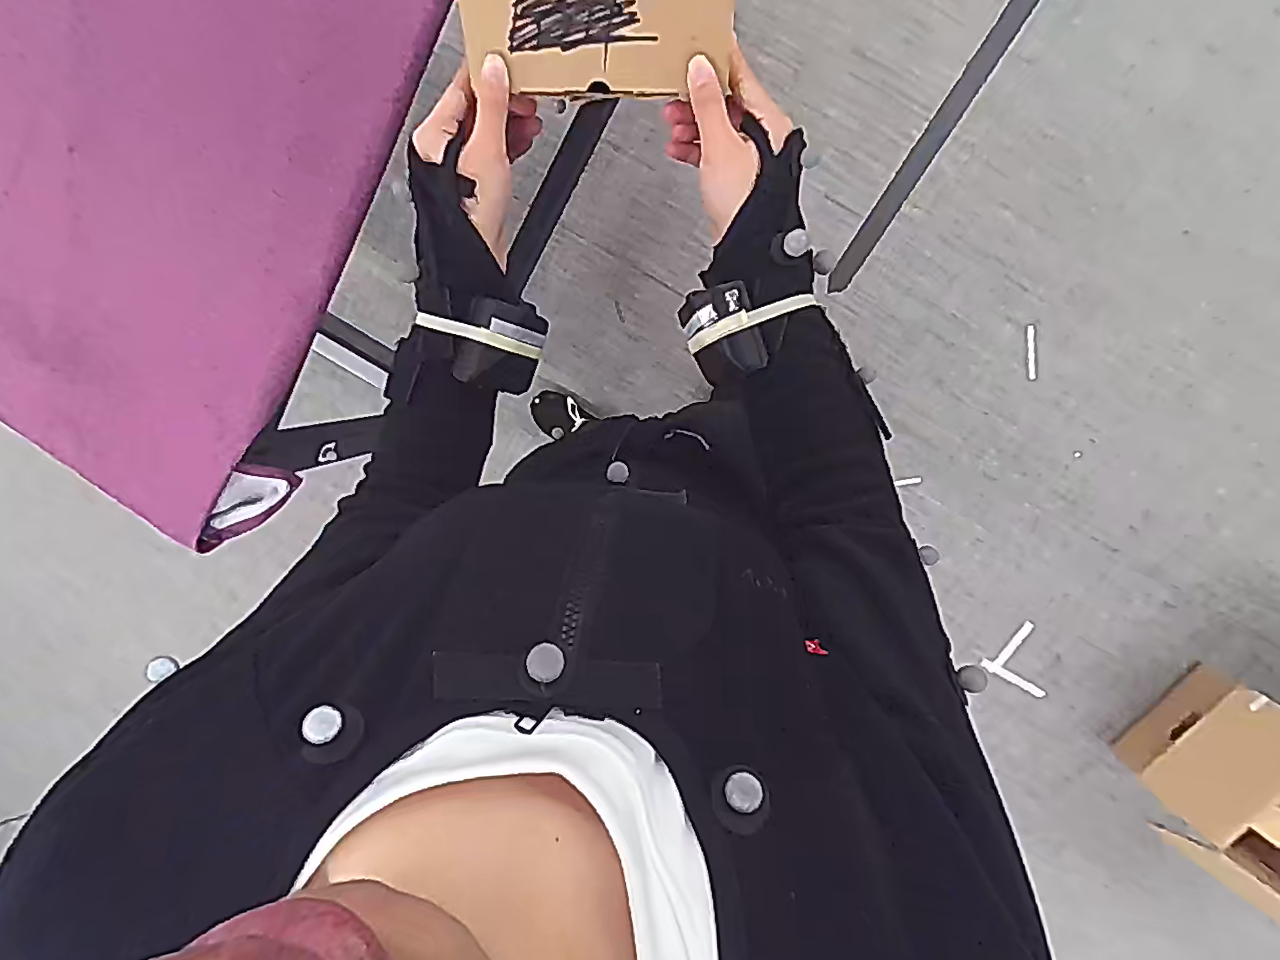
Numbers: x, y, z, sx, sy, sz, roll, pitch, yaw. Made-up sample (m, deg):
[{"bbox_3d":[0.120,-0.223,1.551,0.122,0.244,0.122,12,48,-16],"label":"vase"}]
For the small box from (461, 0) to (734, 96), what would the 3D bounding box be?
[{"bbox_3d":[-0.019,-0.365,0.358,0.168,0.176,0.179,2,125,2],"label":"small box"}]
